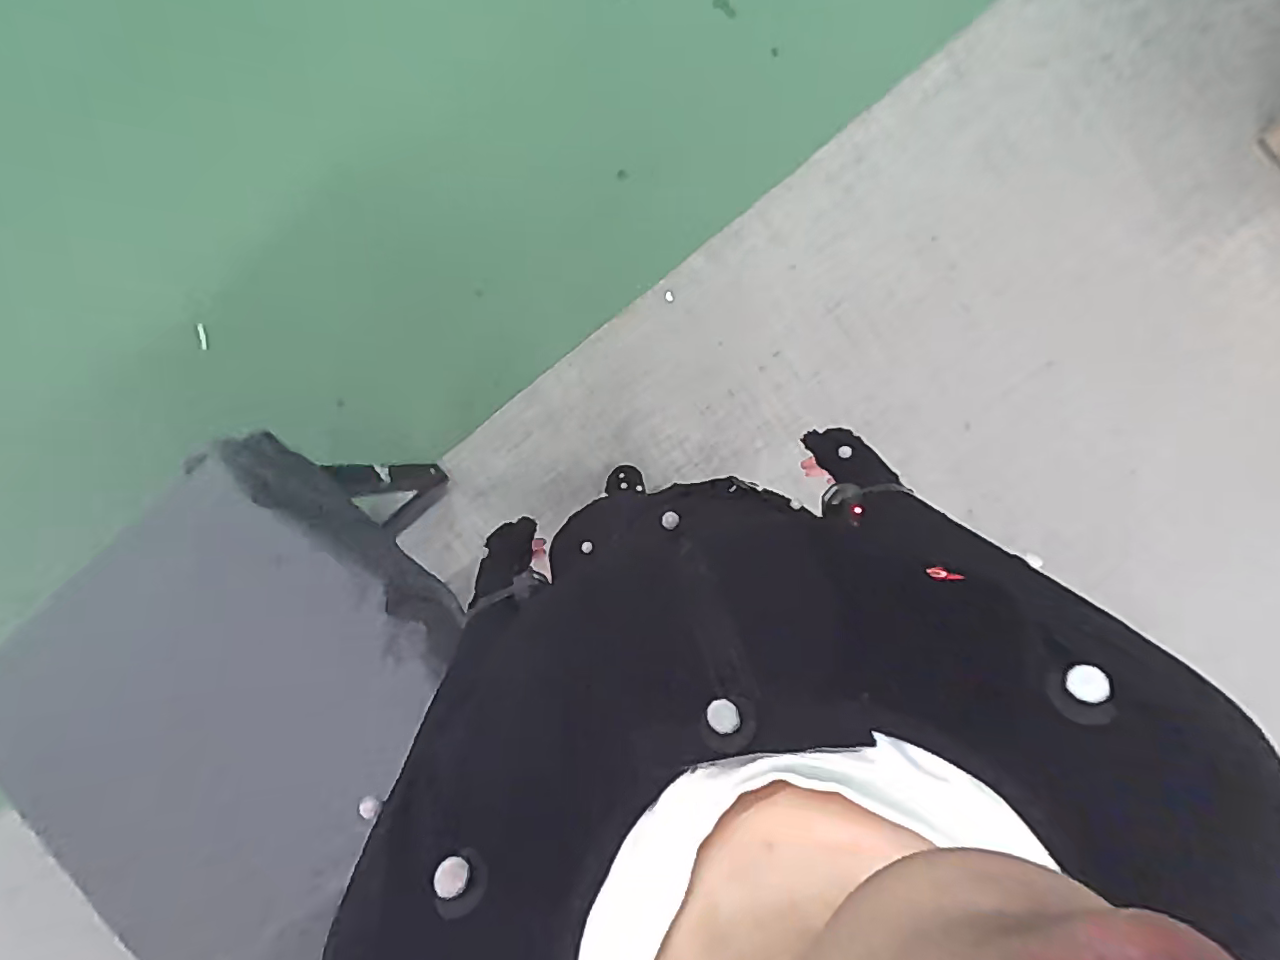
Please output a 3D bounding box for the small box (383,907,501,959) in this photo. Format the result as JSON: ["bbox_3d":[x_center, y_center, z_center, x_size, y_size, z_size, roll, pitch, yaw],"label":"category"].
[{"bbox_3d":[-0.285,0.731,0.714,0.179,0.176,0.168,-42,90,5],"label":"small box"}]
